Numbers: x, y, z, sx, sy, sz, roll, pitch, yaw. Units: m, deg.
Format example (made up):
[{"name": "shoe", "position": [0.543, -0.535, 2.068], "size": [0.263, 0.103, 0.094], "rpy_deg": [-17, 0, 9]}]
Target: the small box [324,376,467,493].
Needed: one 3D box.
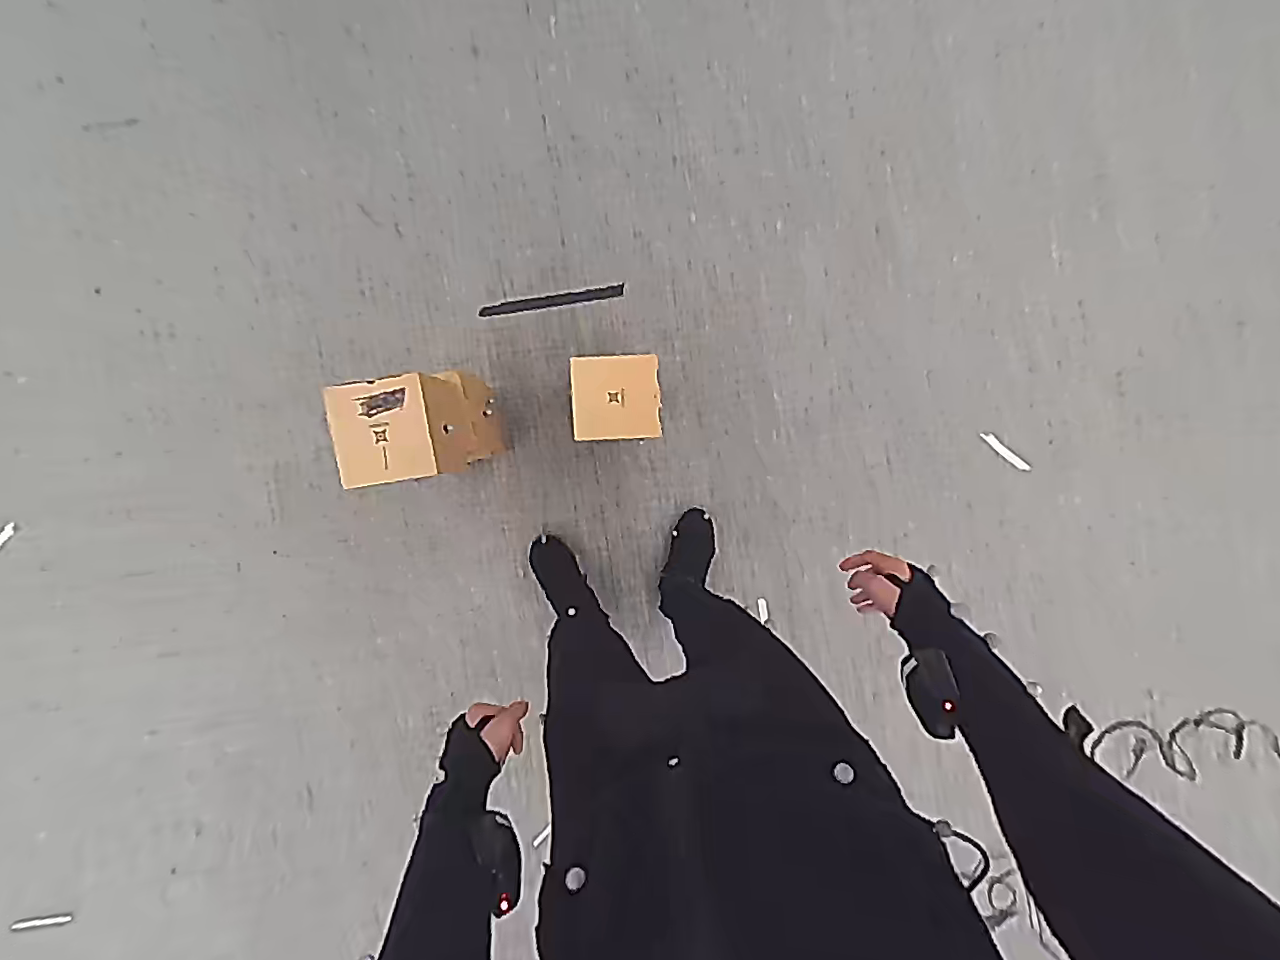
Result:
[{"name": "small box", "position": [-0.430, -0.080, 0.977], "size": [0.168, 0.176, 0.179], "rpy_deg": [-9, 95, 1]}]

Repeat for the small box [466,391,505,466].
[{"name": "small box", "position": [-0.438, -0.122, 1.302], "size": [0.168, 0.176, 0.179], "rpy_deg": [-12, 94, 0]}]

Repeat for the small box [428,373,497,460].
[{"name": "small box", "position": [-0.422, -0.117, 1.139], "size": [0.179, 0.176, 0.168], "rpy_deg": [-13, 94, 0]}]

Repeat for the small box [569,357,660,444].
[{"name": "small box", "position": [-0.051, -0.162, 1.146], "size": [0.179, 0.176, 0.168], "rpy_deg": [-3, 94, -2]}]
